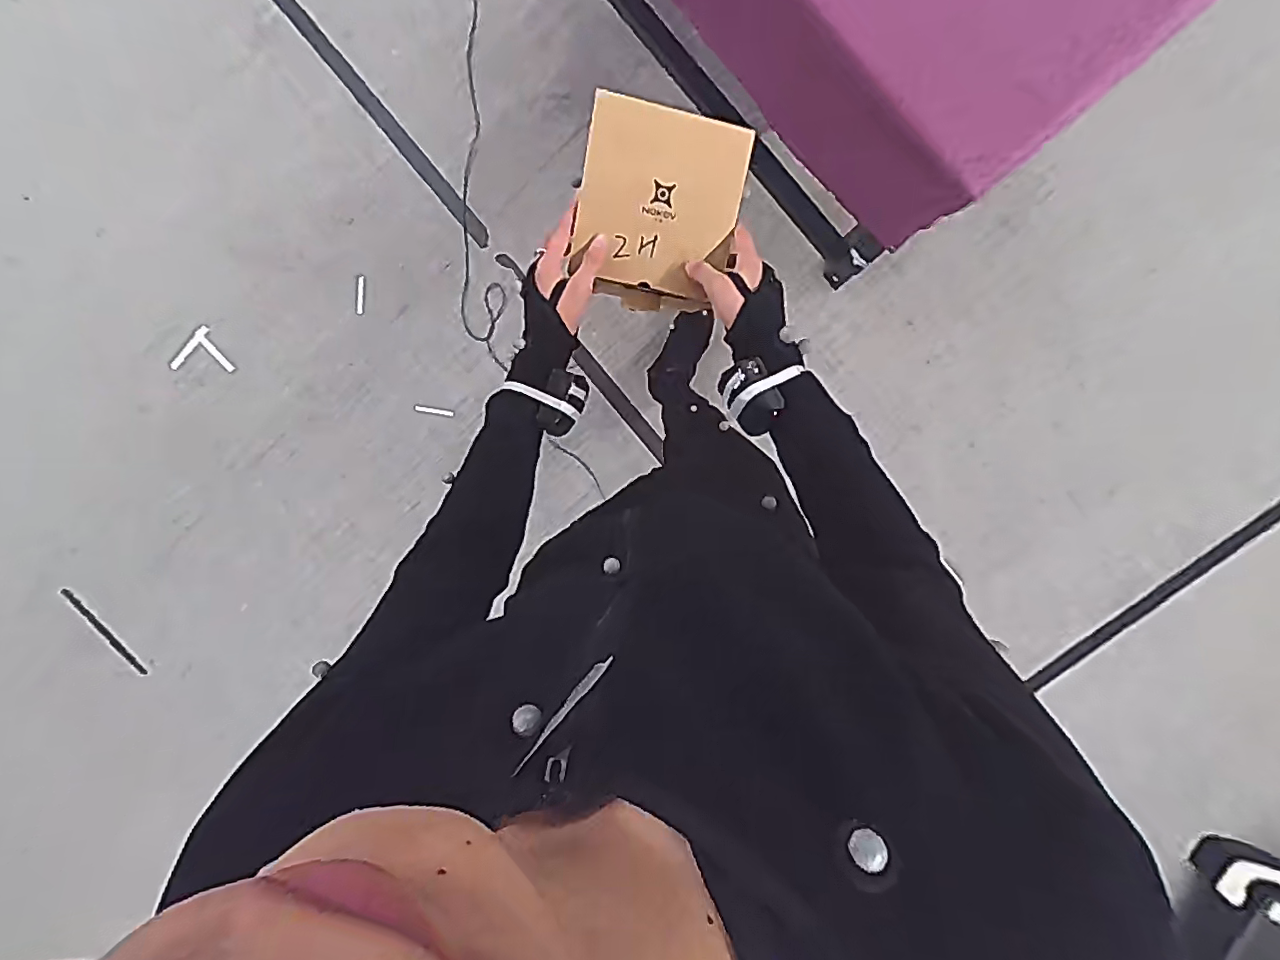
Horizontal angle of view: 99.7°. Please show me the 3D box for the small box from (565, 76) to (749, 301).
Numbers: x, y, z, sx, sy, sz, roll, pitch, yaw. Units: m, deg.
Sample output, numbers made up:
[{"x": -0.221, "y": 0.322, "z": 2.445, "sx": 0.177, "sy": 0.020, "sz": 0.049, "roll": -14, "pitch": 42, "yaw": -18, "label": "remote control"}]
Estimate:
[{"x": 0.008, "y": -0.319, "z": 0.634, "sx": 0.168, "sy": 0.176, "sz": 0.179, "roll": 10, "pitch": 104, "yaw": -8, "label": "small box"}]
